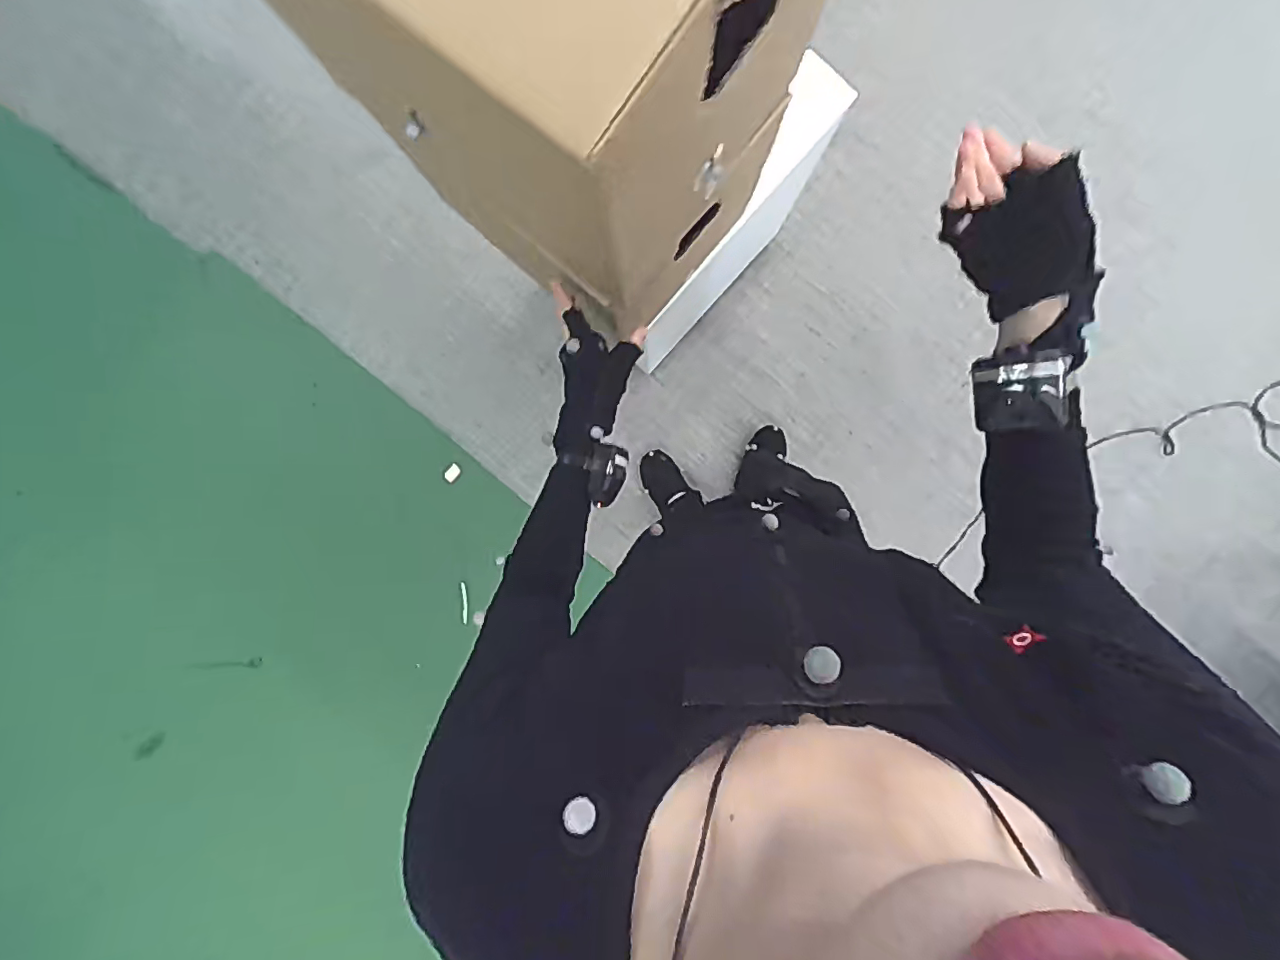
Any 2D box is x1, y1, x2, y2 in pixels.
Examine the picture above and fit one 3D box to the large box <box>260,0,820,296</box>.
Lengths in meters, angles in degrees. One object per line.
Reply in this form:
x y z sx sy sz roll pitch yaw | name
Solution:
-0.089 -0.420 0.429 0.408 0.320 0.320 38 94 1 | large box
